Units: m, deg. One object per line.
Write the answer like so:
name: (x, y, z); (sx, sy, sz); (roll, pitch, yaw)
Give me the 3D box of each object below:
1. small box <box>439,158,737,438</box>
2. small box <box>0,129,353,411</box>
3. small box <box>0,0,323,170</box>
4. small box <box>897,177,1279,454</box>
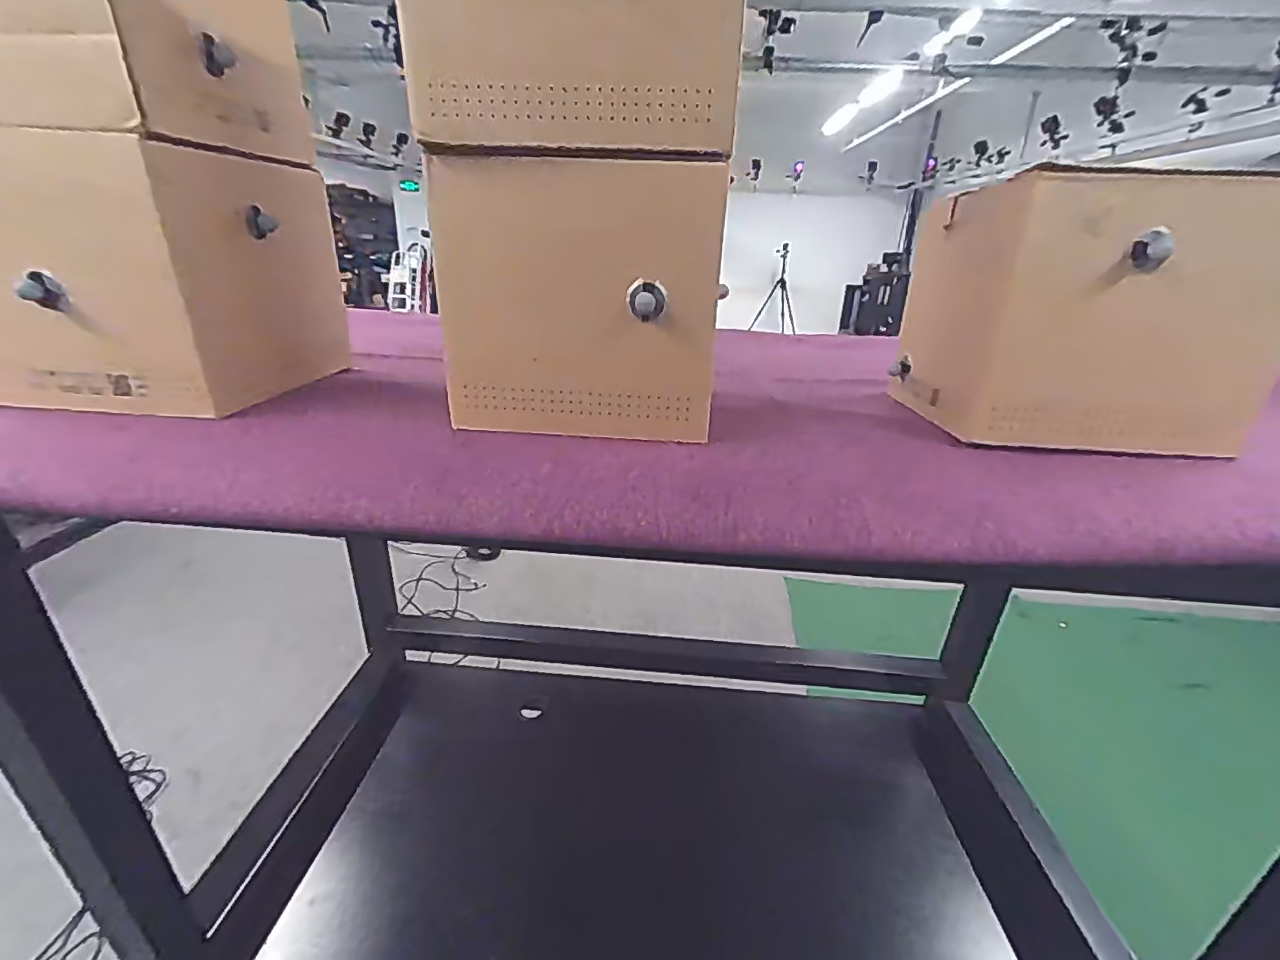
small box: (-0.030, -0.135, 0.415); (0.179, 0.176, 0.168); (3, 22, 2)
small box: (-0.350, -0.158, 0.421); (0.168, 0.176, 0.179); (5, 23, 1)
small box: (-0.347, -0.307, 0.355); (0.179, 0.176, 0.168); (4, 24, -1)
small box: (0.319, -0.123, 0.419); (0.179, 0.176, 0.168); (4, 21, 4)
